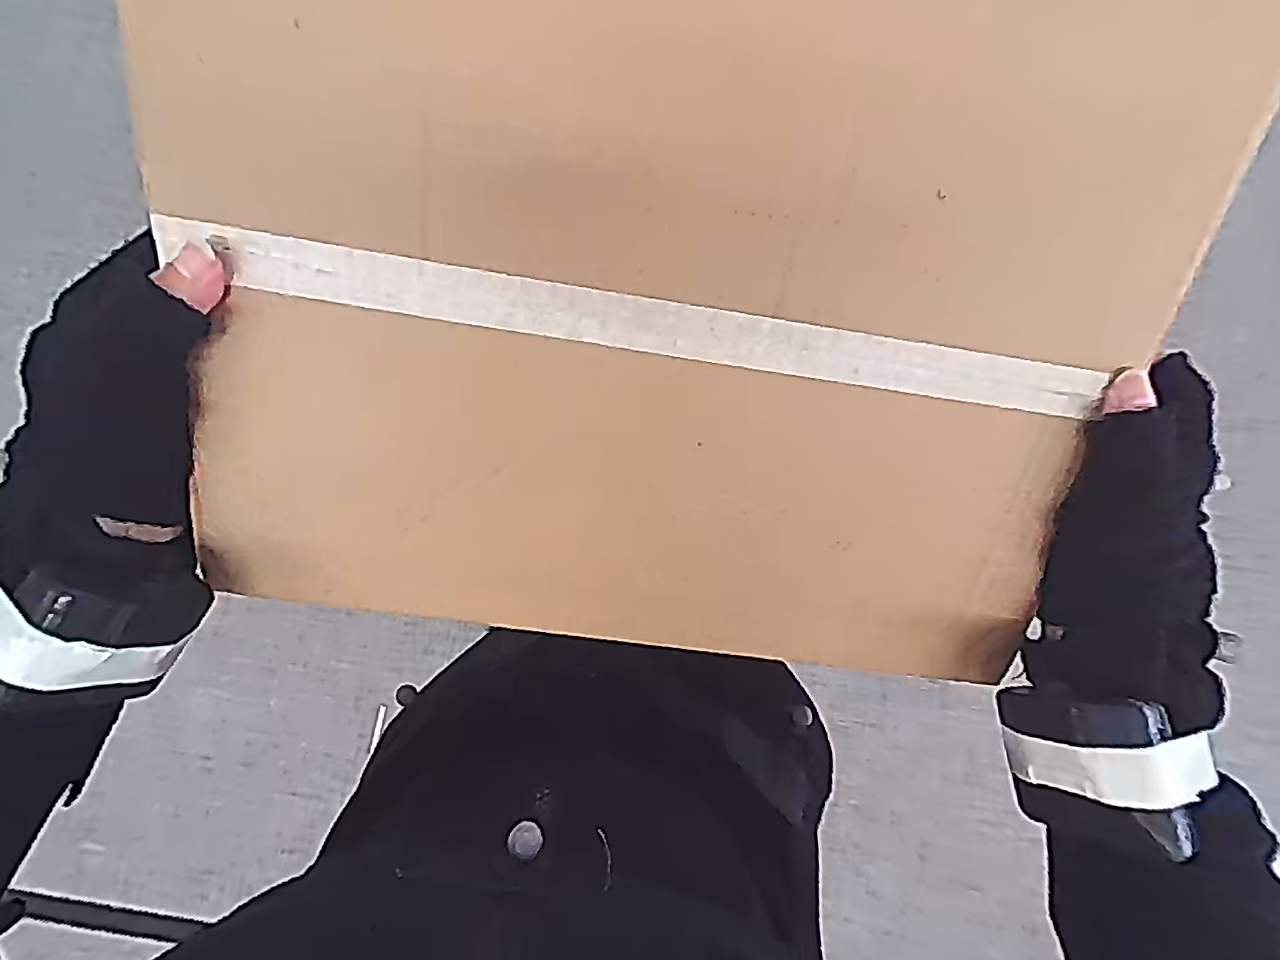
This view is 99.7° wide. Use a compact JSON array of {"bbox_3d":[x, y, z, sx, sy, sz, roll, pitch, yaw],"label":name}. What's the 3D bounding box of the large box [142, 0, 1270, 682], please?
[{"bbox_3d":[0.010,-0.104,0.373,0.408,0.320,0.320,8,110,-5],"label":"large box"}]
